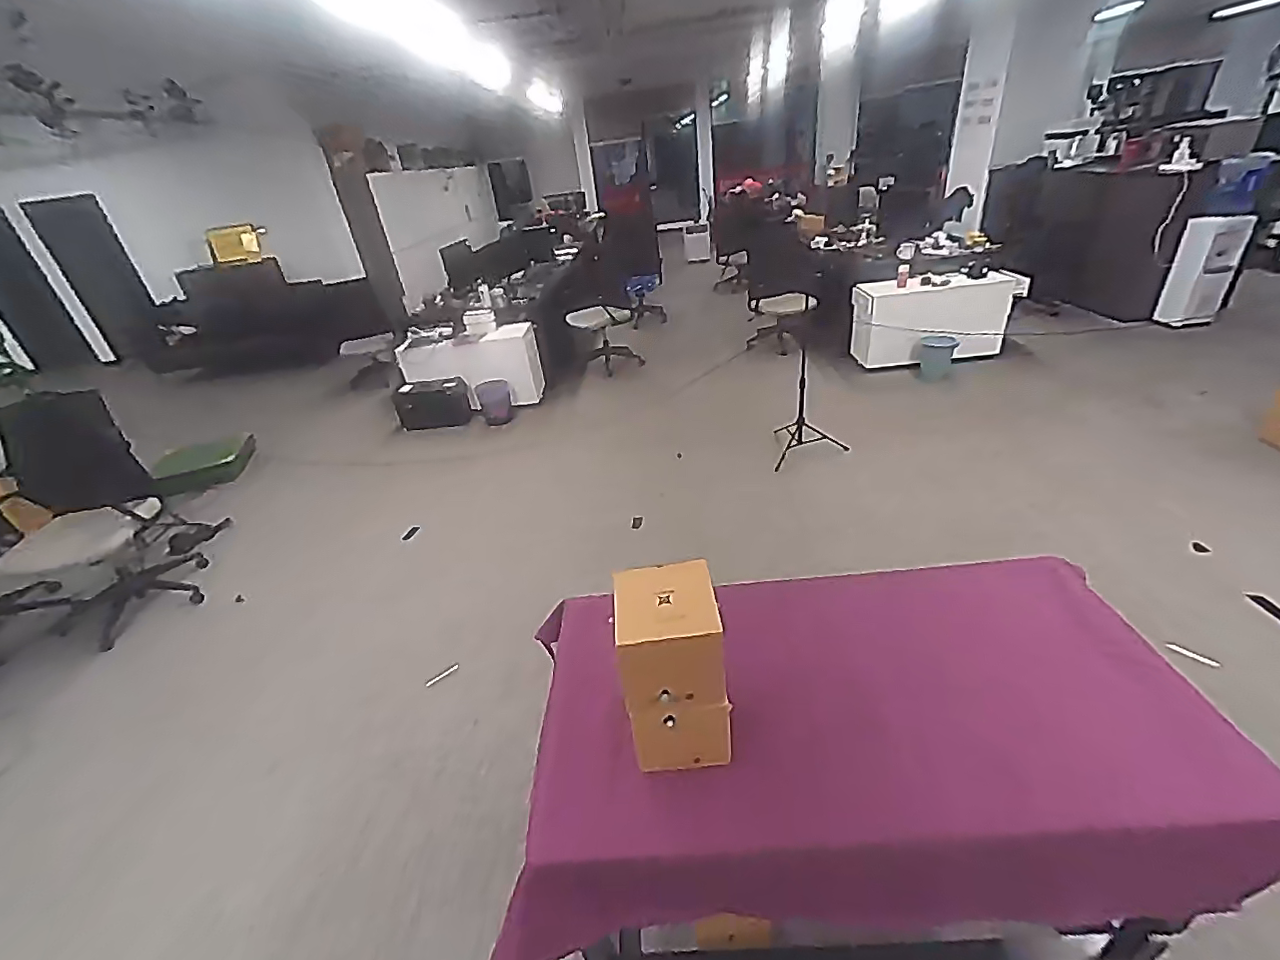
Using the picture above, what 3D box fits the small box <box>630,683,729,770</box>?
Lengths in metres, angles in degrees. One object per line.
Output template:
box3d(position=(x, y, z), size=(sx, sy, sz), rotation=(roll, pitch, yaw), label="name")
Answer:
box3d(position=(0.072, 0.404, 1.003), size=(0.168, 0.176, 0.179), rotation=(-6, 30, 2), label="small box")

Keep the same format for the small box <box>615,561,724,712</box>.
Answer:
box3d(position=(0.049, 0.263, 0.922), size=(0.168, 0.176, 0.179), rotation=(-7, 31, 1), label="small box")
